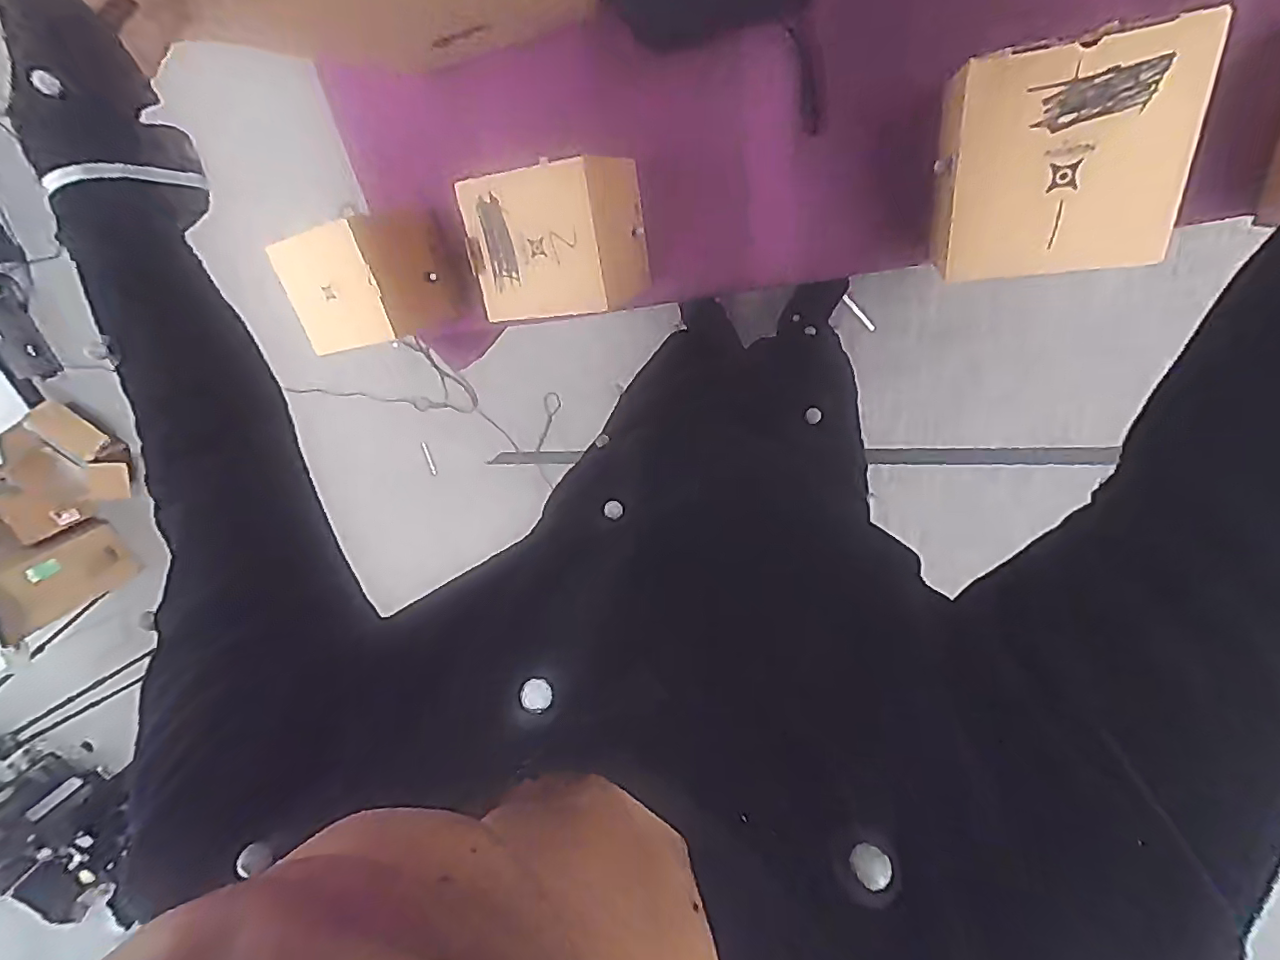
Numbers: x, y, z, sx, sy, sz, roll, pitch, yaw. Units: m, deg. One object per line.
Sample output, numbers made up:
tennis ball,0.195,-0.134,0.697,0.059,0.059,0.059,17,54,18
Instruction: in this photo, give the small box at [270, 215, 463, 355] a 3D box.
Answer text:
small box,-0.416,-0.307,0.849,0.179,0.176,0.168,-4,116,23

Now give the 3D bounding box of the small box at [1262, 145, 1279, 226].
small box,0.644,-0.289,0.405,0.168,0.176,0.179,3,119,22

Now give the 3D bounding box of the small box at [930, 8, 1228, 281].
small box,0.381,-0.299,0.514,0.168,0.176,0.179,2,119,22
